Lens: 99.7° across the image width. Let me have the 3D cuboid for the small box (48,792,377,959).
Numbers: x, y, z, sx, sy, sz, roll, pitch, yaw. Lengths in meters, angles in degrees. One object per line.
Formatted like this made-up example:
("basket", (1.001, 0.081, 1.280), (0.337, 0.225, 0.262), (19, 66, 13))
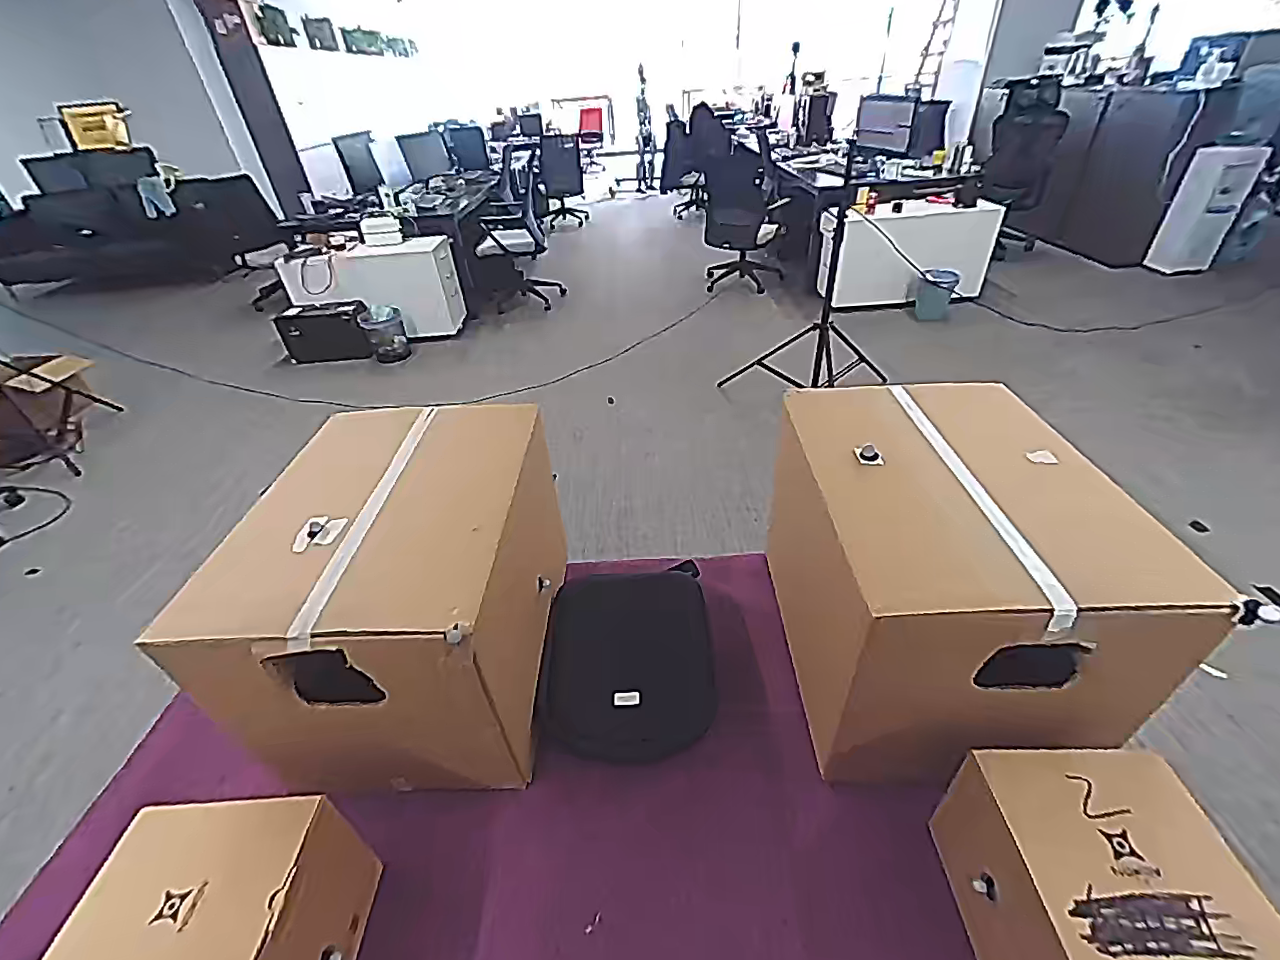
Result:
("small box", (-0.382, 0.421, 0.503), (0.179, 0.176, 0.168), (-4, 36, -1))

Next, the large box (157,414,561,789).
("large box", (-0.295, 0.149, 0.742), (0.320, 0.320, 0.408), (-3, 39, 2))
